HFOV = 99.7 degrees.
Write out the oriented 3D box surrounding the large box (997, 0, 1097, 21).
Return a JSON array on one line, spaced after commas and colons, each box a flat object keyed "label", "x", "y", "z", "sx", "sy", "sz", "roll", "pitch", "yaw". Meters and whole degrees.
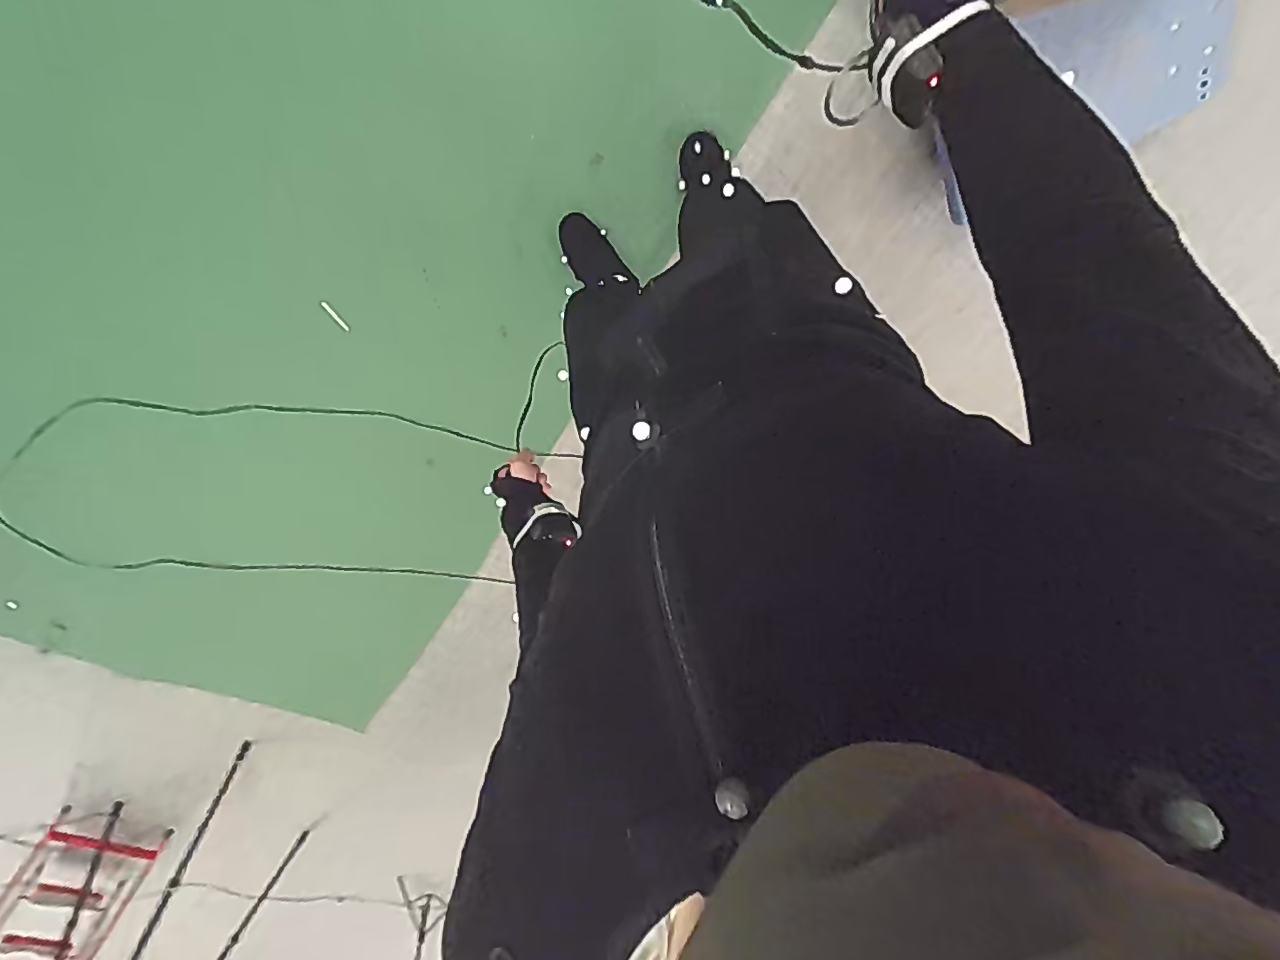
[{"label": "large box", "x": 0.762, "y": -1.029, "z": 0.815, "sx": 0.320, "sy": 0.320, "sz": 0.408, "roll": -27, "pitch": 123, "yaw": 11}]
